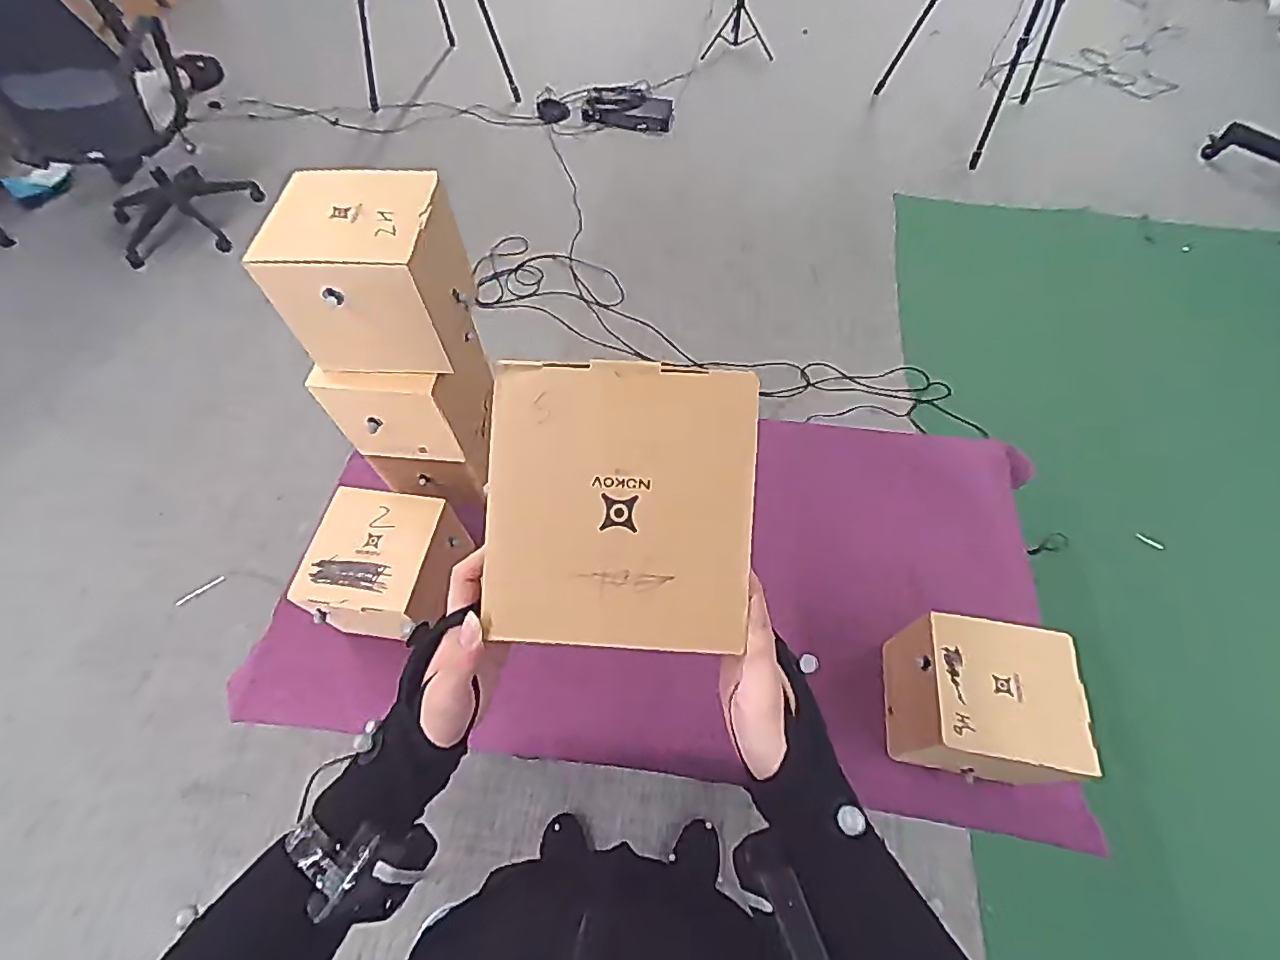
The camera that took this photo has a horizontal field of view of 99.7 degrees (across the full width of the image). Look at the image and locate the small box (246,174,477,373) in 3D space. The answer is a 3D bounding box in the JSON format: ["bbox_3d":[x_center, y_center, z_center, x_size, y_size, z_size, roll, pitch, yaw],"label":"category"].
[{"bbox_3d":[-0.321,-0.248,0.667,0.179,0.176,0.168,2,60,0],"label":"small box"}]

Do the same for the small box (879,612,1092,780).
[{"bbox_3d":[0.444,0.297,0.729,0.179,0.176,0.168,10,59,6],"label":"small box"}]

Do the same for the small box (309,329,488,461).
[{"bbox_3d":[-0.336,-0.144,0.796,0.168,0.176,0.179,4,59,2],"label":"small box"}]

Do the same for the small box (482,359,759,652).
[{"bbox_3d":[-0.011,0.016,0.417,0.168,0.176,0.179,3,90,2],"label":"small box"}]
